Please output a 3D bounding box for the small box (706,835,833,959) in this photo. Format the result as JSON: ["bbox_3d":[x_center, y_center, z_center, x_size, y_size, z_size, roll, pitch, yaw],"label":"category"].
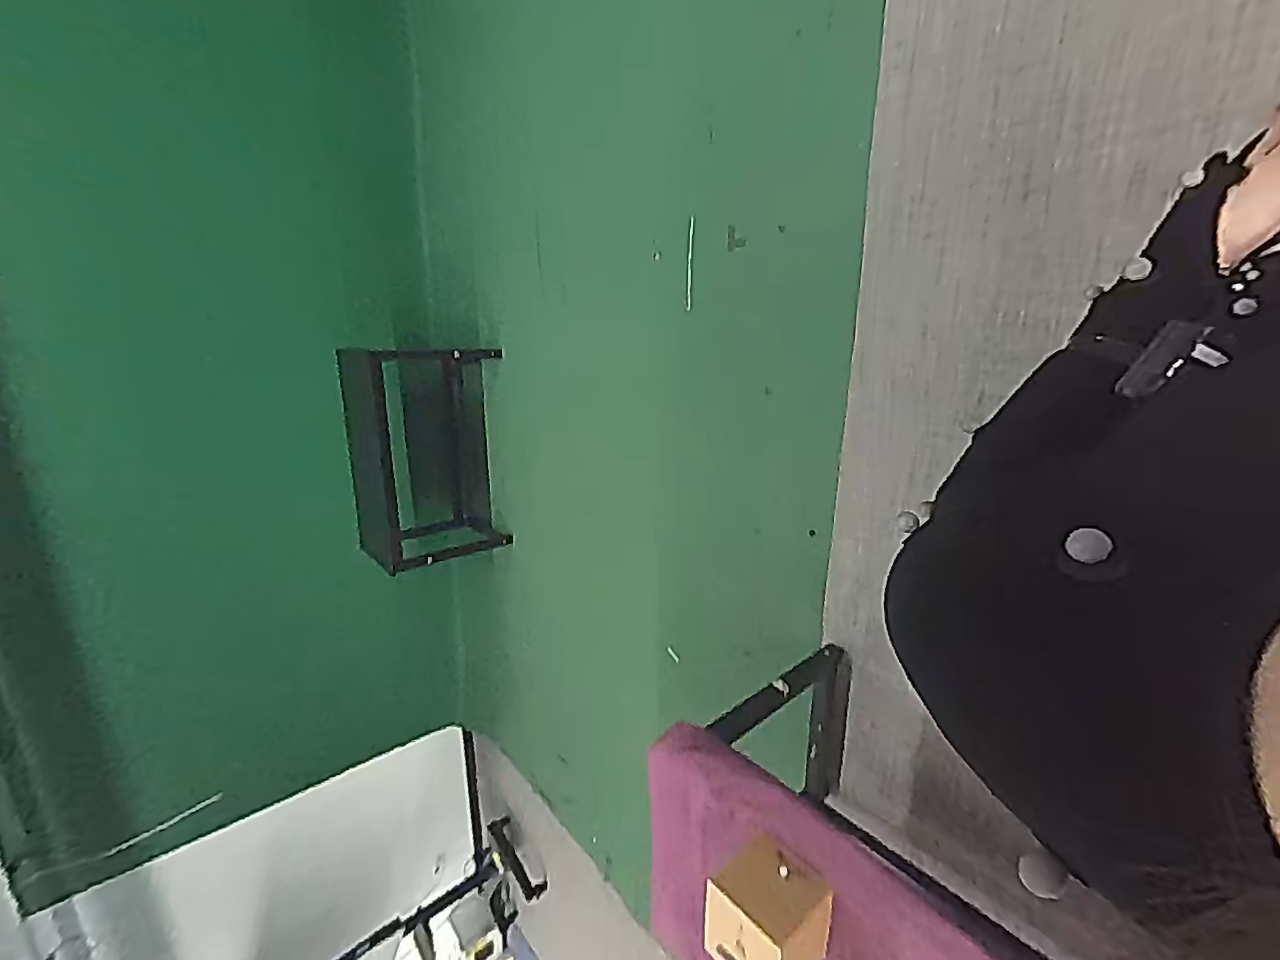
[{"bbox_3d":[0.243,0.828,1.014,0.168,0.176,0.179,16,111,46],"label":"small box"}]
